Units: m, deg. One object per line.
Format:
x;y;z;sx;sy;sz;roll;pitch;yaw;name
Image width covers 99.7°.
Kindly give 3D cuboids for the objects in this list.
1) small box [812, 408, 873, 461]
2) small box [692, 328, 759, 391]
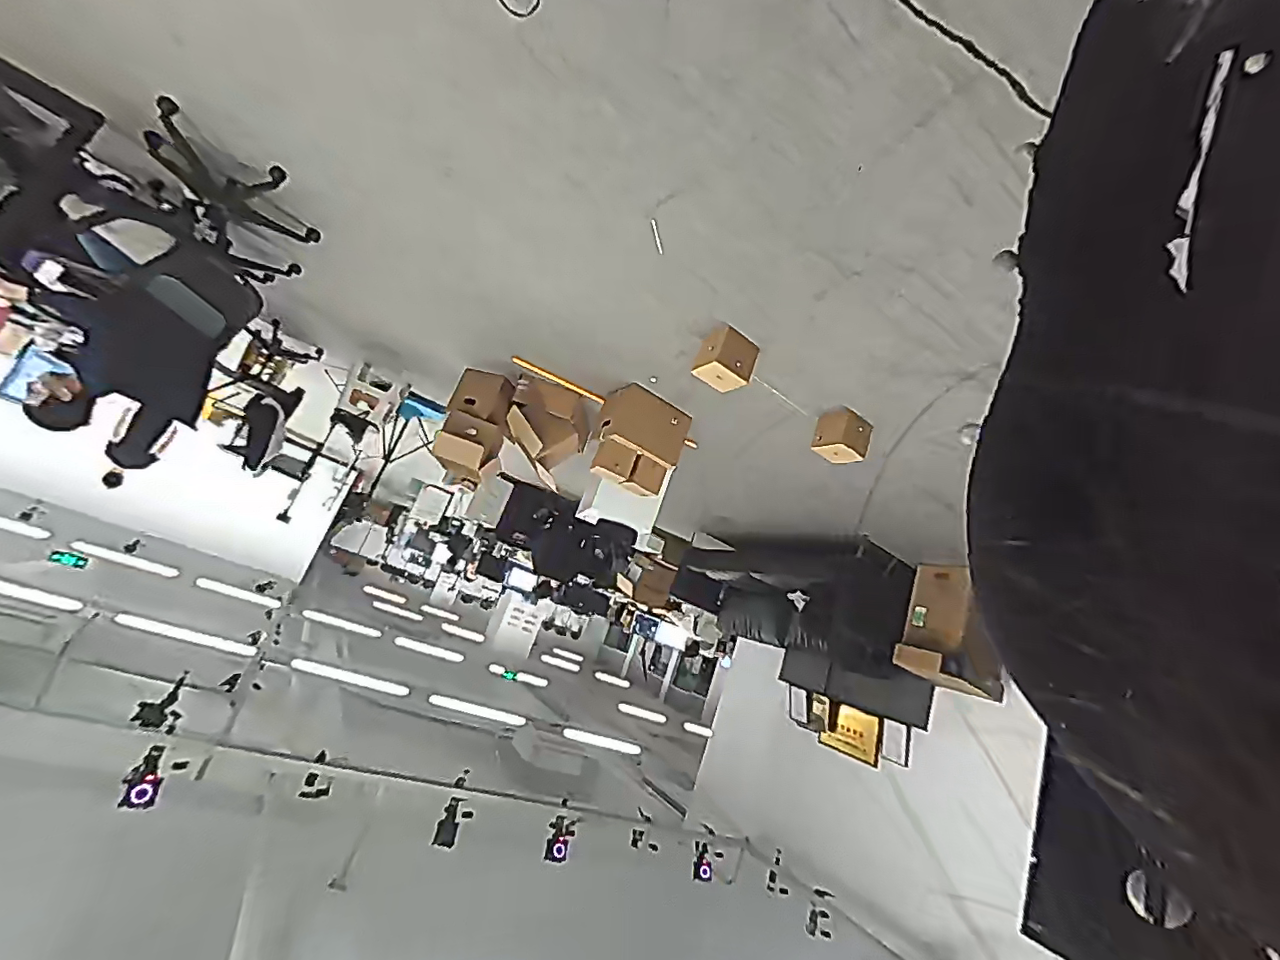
0.903;-0.202;2.406;0.168;0.176;0.179;26;164;-25;small box
0.340;-0.481;2.131;0.179;0.176;0.168;26;163;-25;small box
